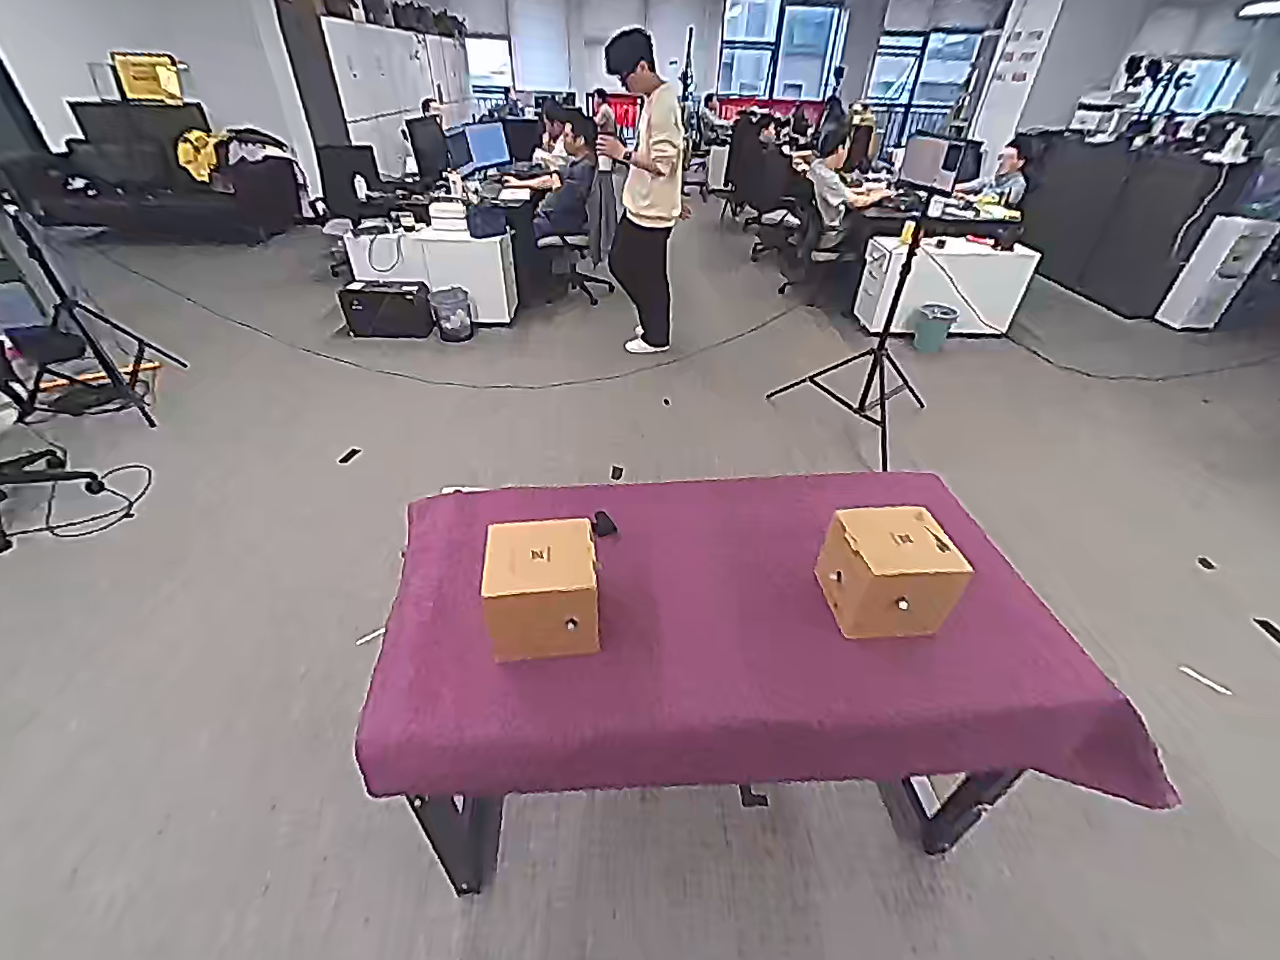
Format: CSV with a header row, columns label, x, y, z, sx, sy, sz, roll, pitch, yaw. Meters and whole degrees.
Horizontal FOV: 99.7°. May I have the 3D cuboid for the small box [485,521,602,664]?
label,x,y,z,sx,sy,sz,roll,pitch,yaw
small box,-0.158,0.191,0.925,0.179,0.176,0.168,-5,36,-7

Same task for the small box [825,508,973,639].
label,x,y,z,sx,sy,sz,roll,pitch,yaw
small box,0.449,0.169,0.977,0.179,0.176,0.168,-3,37,-4
